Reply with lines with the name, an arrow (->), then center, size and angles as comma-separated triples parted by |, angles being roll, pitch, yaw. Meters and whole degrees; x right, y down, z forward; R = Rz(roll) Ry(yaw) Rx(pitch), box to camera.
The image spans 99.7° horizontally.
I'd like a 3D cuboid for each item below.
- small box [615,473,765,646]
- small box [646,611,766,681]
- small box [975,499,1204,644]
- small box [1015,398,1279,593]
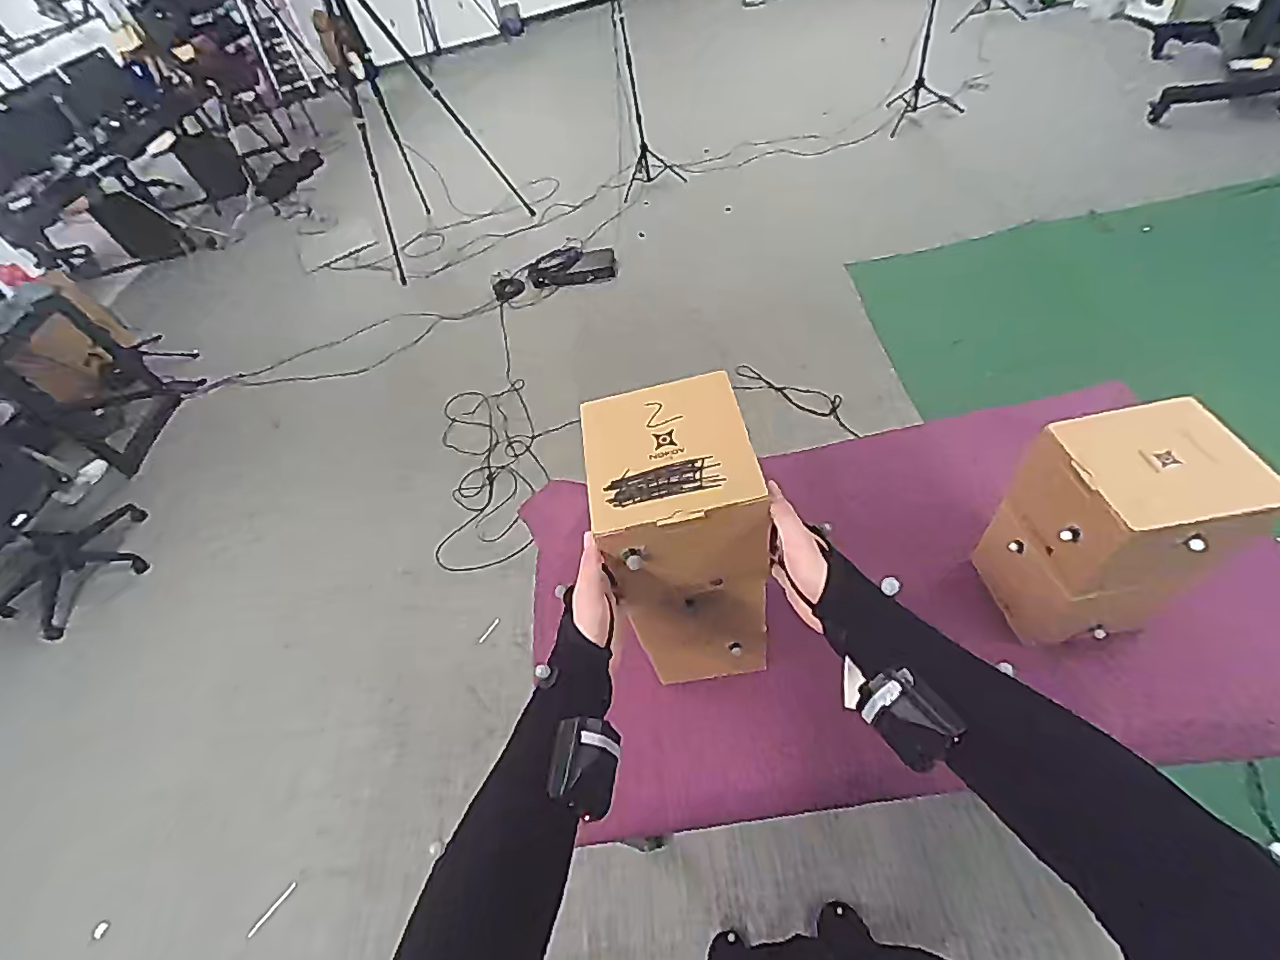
small box -> 0.071, 0.116, 0.756 | 0.179, 0.176, 0.168 | -11, 51, 6
small box -> 0.102, 0.212, 0.883 | 0.179, 0.176, 0.168 | -11, 50, 6
small box -> 0.646, 0.128, 0.808 | 0.179, 0.176, 0.168 | -12, 50, 5
small box -> 0.613, 0.027, 0.683 | 0.179, 0.176, 0.168 | -11, 51, 6
